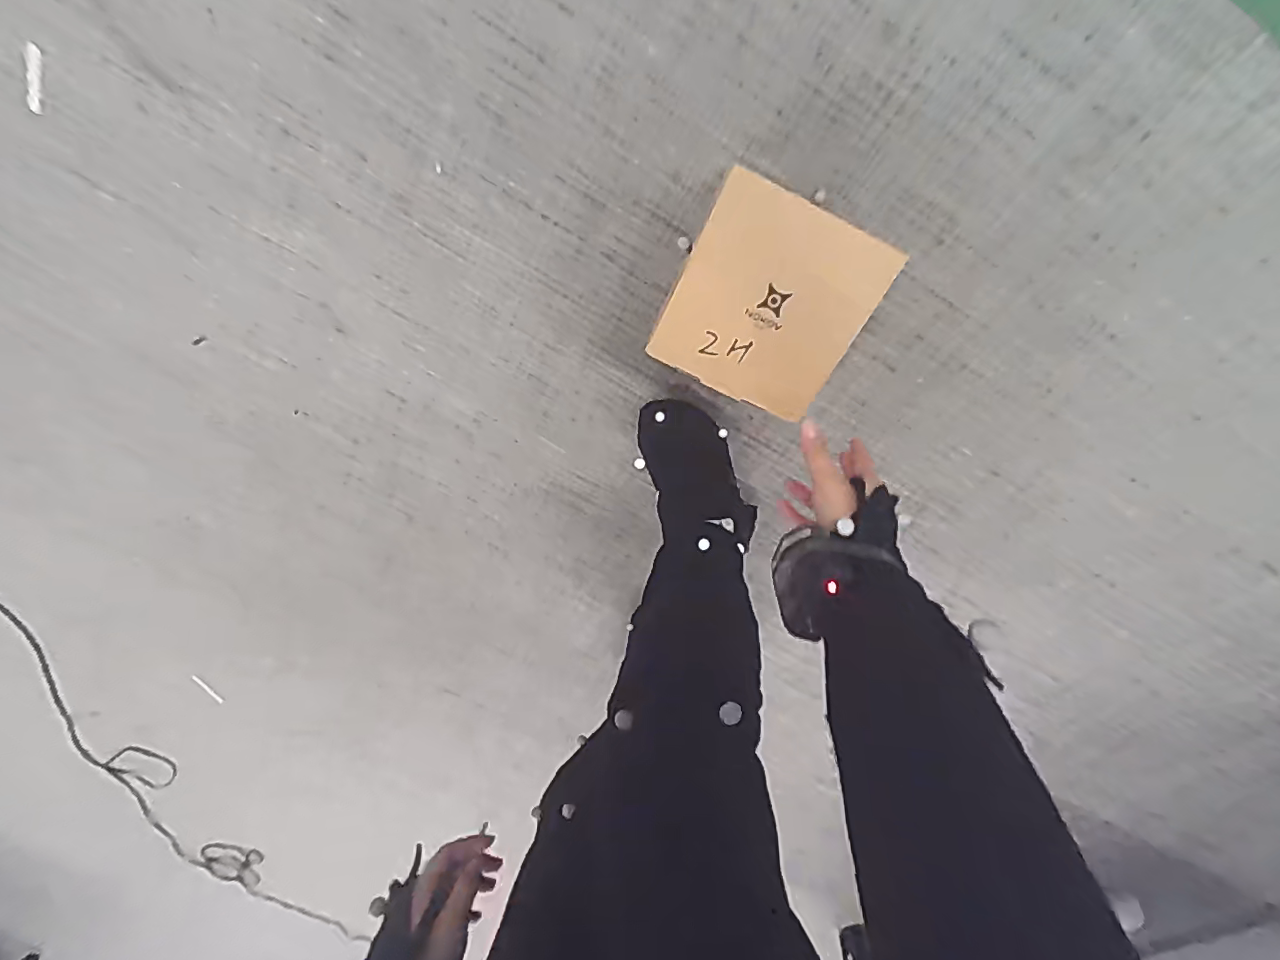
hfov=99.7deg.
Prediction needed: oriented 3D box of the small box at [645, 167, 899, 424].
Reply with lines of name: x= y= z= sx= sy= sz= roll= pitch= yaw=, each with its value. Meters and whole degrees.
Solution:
small box: x=0.120 y=-0.193 z=0.554 sx=0.168 sy=0.176 sz=0.179 roll=25 pitch=120 yaw=-6
